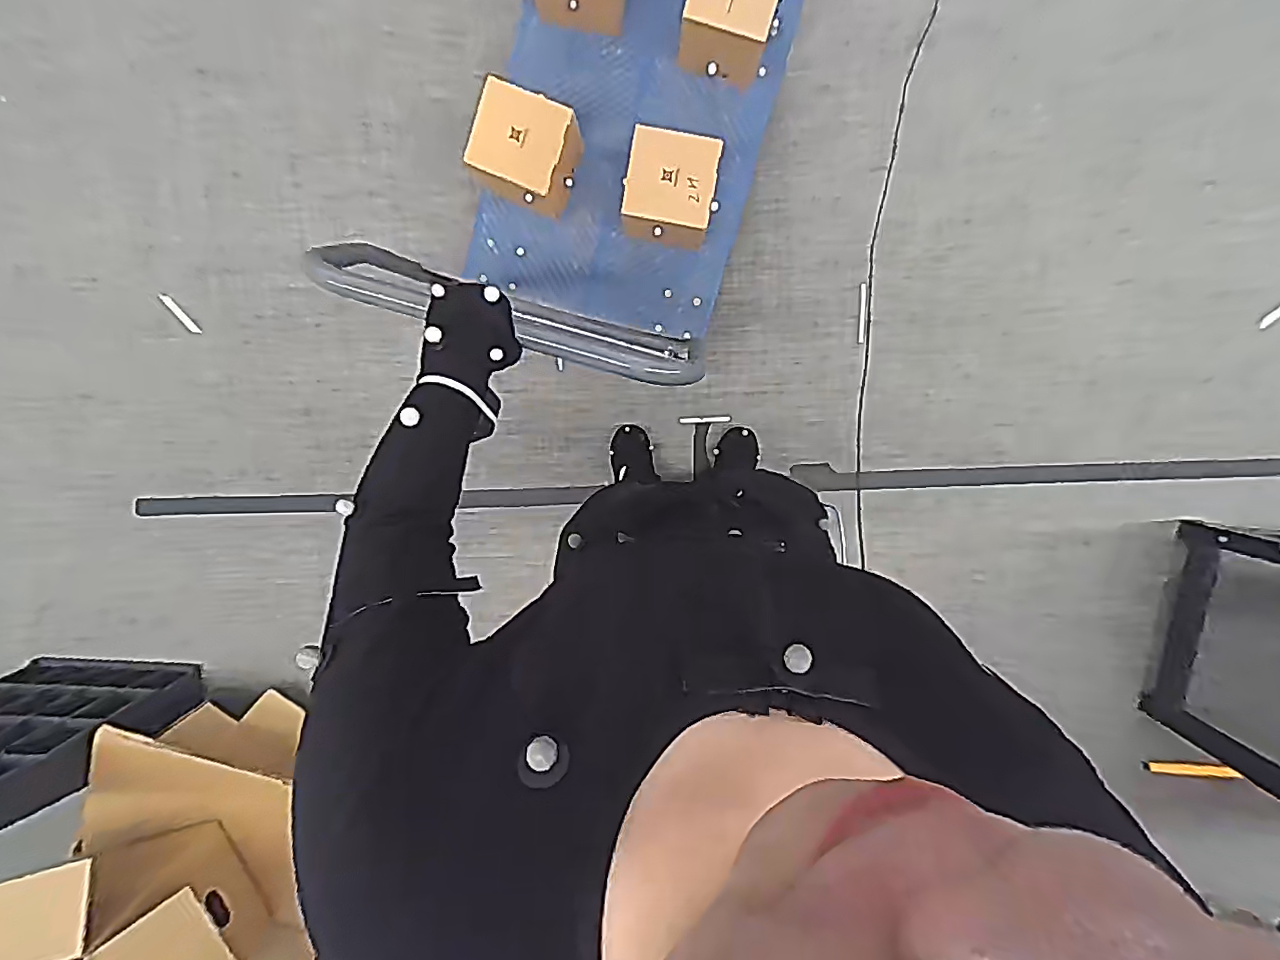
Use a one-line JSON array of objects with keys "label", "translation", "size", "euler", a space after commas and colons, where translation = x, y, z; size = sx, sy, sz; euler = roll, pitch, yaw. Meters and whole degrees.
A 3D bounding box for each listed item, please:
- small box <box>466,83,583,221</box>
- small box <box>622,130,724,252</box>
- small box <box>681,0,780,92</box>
[{"label": "small box", "translation": [-0.233, -0.669, 1.127], "size": [0.179, 0.176, 0.168], "euler": [20, 99, -3]}, {"label": "small box", "translation": [0.066, -0.593, 1.132], "size": [0.179, 0.176, 0.168], "euler": [11, 100, 0]}, {"label": "small box", "translation": [0.183, -0.927, 1.074], "size": [0.168, 0.176, 0.179], "euler": [16, 101, -1]}]
